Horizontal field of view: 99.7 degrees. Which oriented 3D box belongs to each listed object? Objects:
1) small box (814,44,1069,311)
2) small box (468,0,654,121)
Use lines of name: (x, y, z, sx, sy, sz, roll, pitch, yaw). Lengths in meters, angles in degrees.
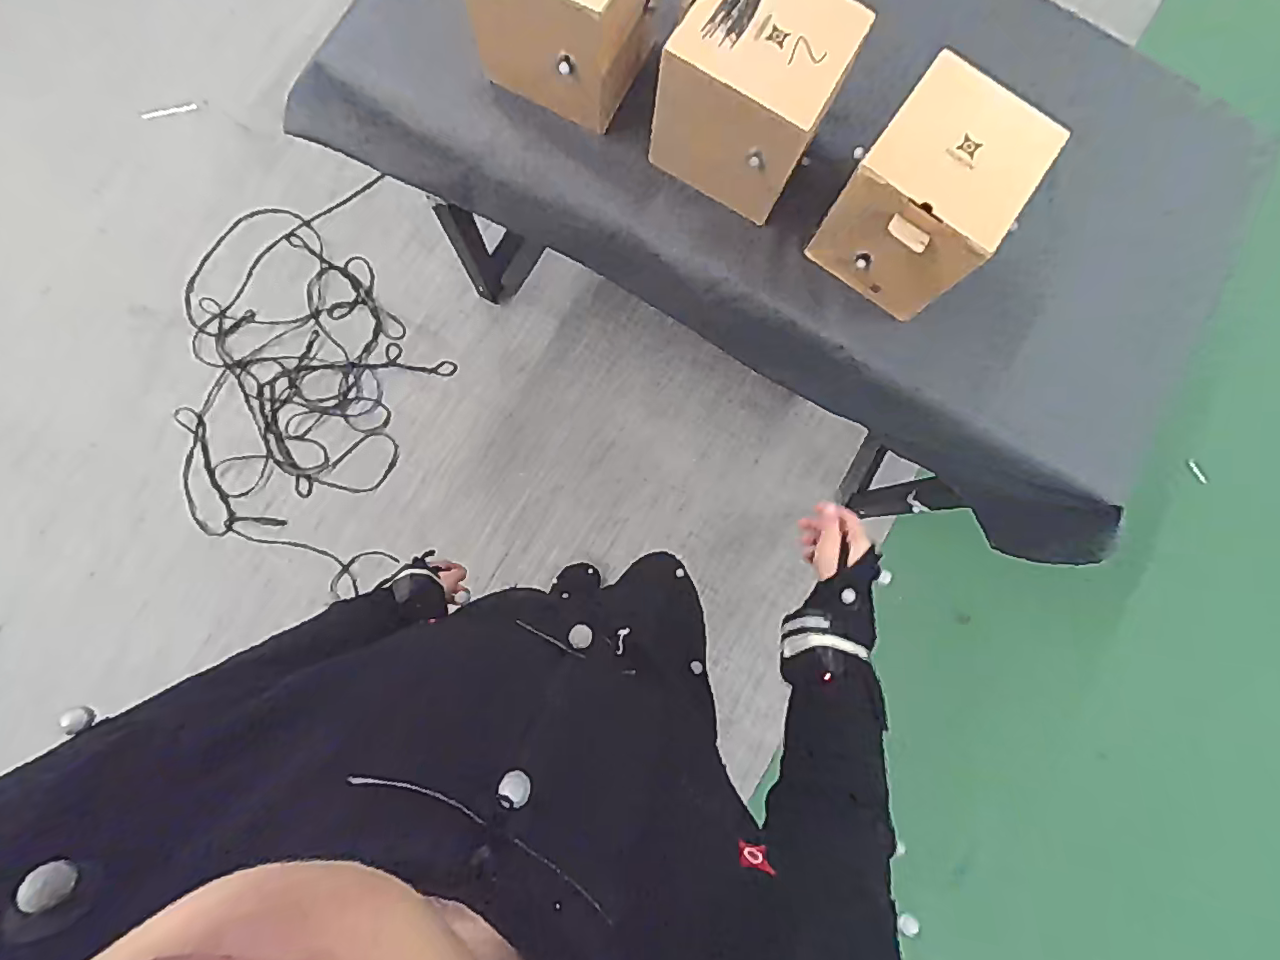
small box: (0.337, -0.340, 0.642, 0.168, 0.176, 0.179, 35, 83, 0)
small box: (-0.087, -0.576, 0.641, 0.179, 0.176, 0.168, 25, 81, 0)
